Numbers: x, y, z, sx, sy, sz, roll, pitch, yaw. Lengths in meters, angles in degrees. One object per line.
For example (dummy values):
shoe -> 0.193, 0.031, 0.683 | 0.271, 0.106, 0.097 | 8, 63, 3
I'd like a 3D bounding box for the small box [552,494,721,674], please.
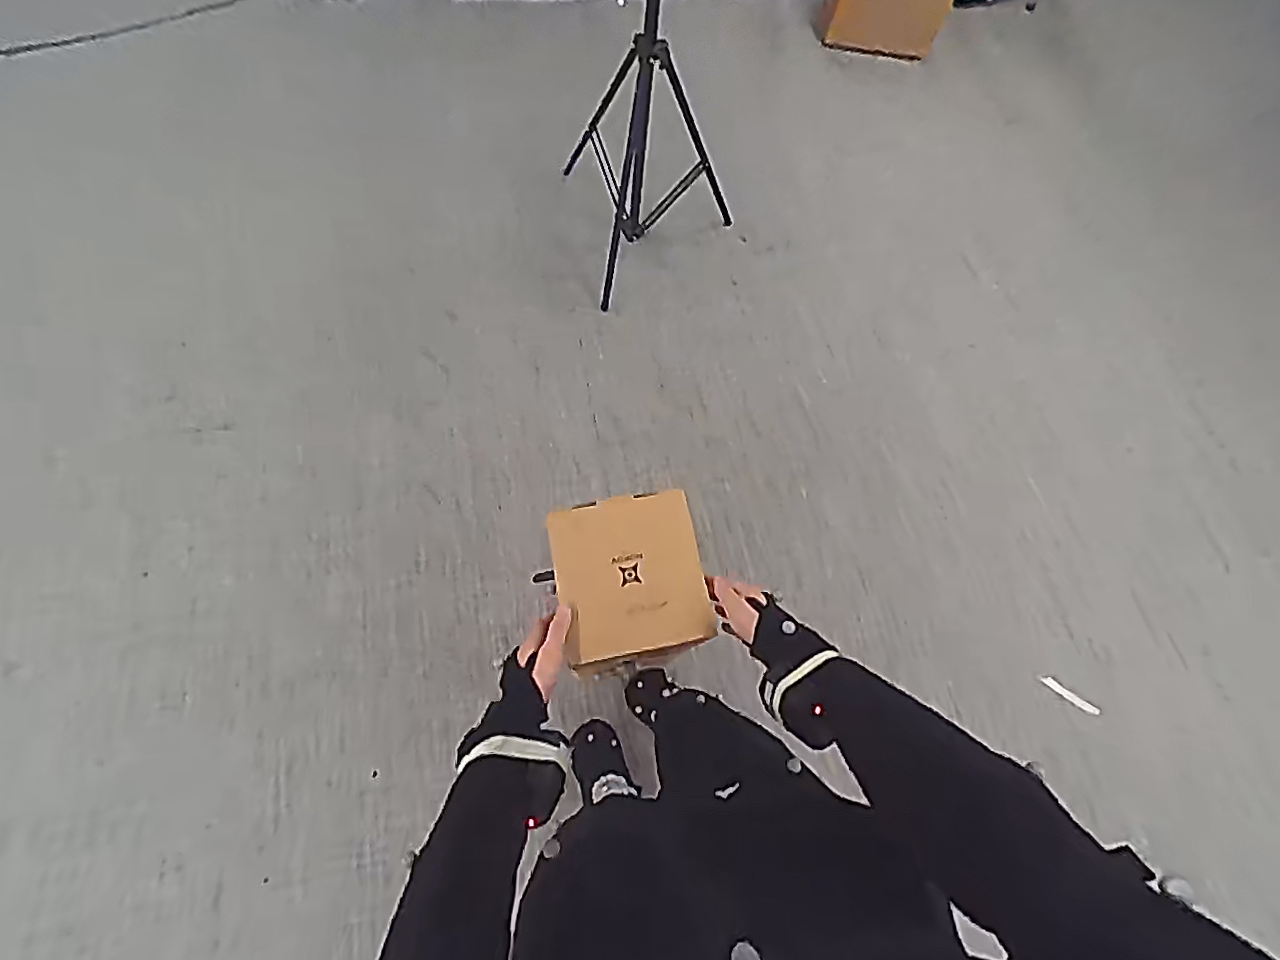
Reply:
small box -> -0.013, 0.136, 0.674 | 0.168, 0.176, 0.179 | -10, 71, -7
